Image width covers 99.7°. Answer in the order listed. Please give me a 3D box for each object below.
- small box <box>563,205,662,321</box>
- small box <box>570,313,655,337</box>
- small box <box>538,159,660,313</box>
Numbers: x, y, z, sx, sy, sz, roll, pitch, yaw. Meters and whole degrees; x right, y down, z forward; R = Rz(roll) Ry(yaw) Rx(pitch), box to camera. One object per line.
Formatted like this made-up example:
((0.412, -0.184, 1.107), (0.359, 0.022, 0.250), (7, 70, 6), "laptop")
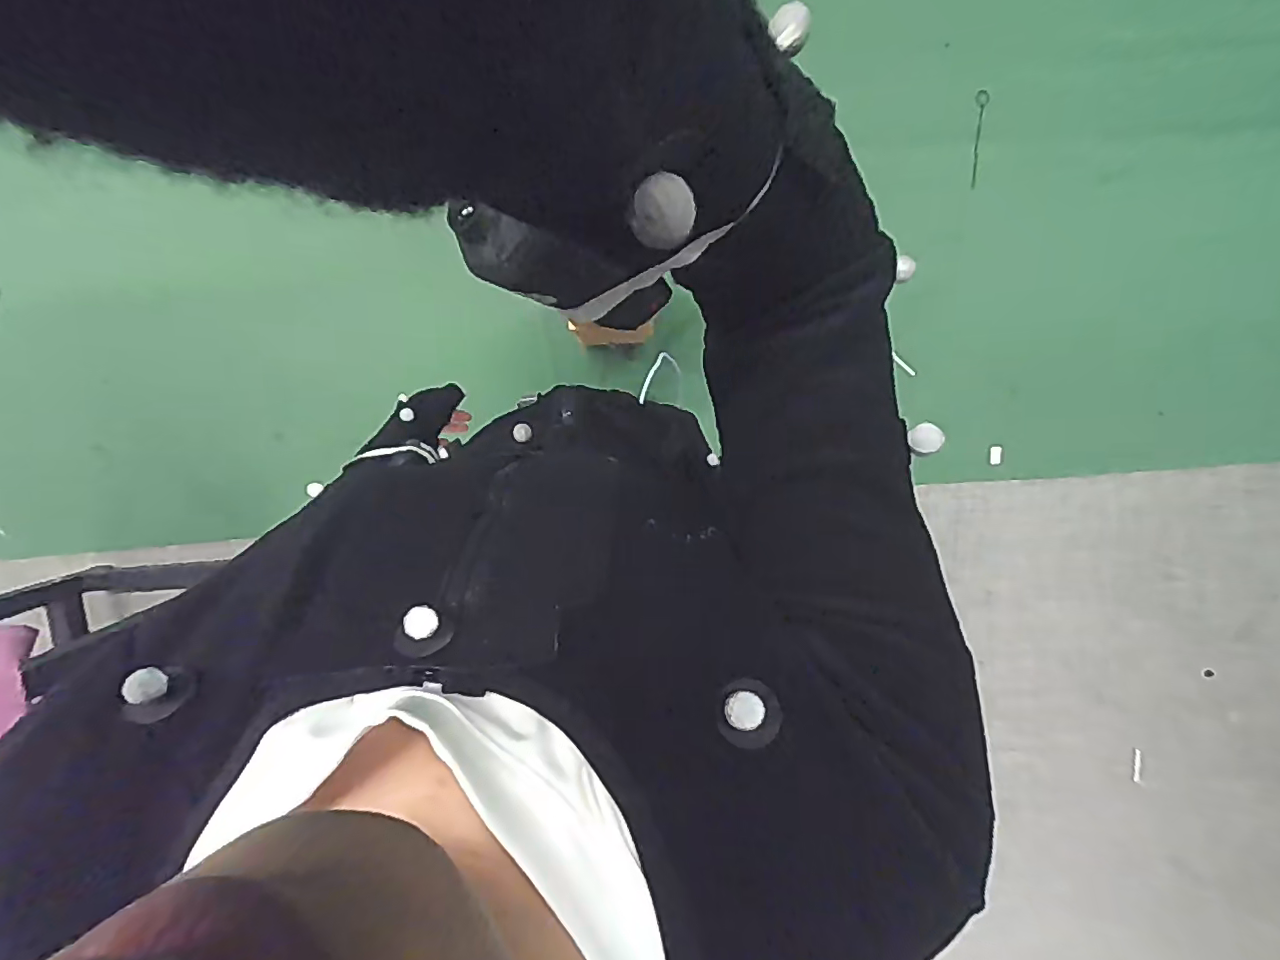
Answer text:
((-0.053, -0.395, 1.003), (0.179, 0.176, 0.168), (-2, 96, 0), "small box")
((-0.058, -0.407, 1.170), (0.179, 0.176, 0.168), (-4, 98, 0), "small box")
((-0.059, -0.368, 0.843), (0.168, 0.176, 0.179), (-4, 98, 1), "small box")
